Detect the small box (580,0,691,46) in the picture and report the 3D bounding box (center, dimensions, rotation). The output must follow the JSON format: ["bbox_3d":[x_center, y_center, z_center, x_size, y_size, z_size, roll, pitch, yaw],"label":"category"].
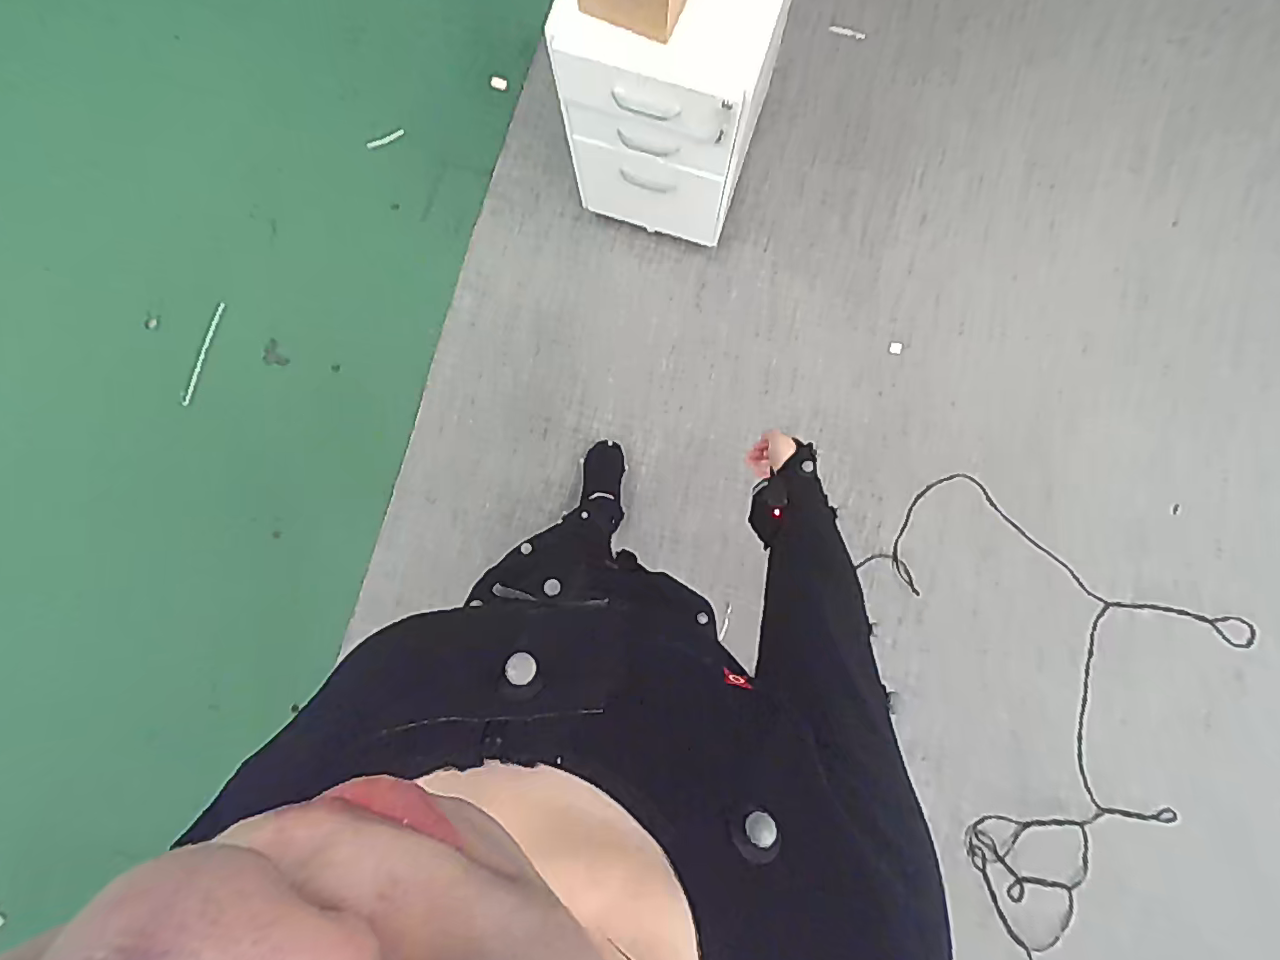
[{"bbox_3d":[-0.001,-0.882,0.898,0.179,0.176,0.168,24,86,2],"label":"small box"}]
